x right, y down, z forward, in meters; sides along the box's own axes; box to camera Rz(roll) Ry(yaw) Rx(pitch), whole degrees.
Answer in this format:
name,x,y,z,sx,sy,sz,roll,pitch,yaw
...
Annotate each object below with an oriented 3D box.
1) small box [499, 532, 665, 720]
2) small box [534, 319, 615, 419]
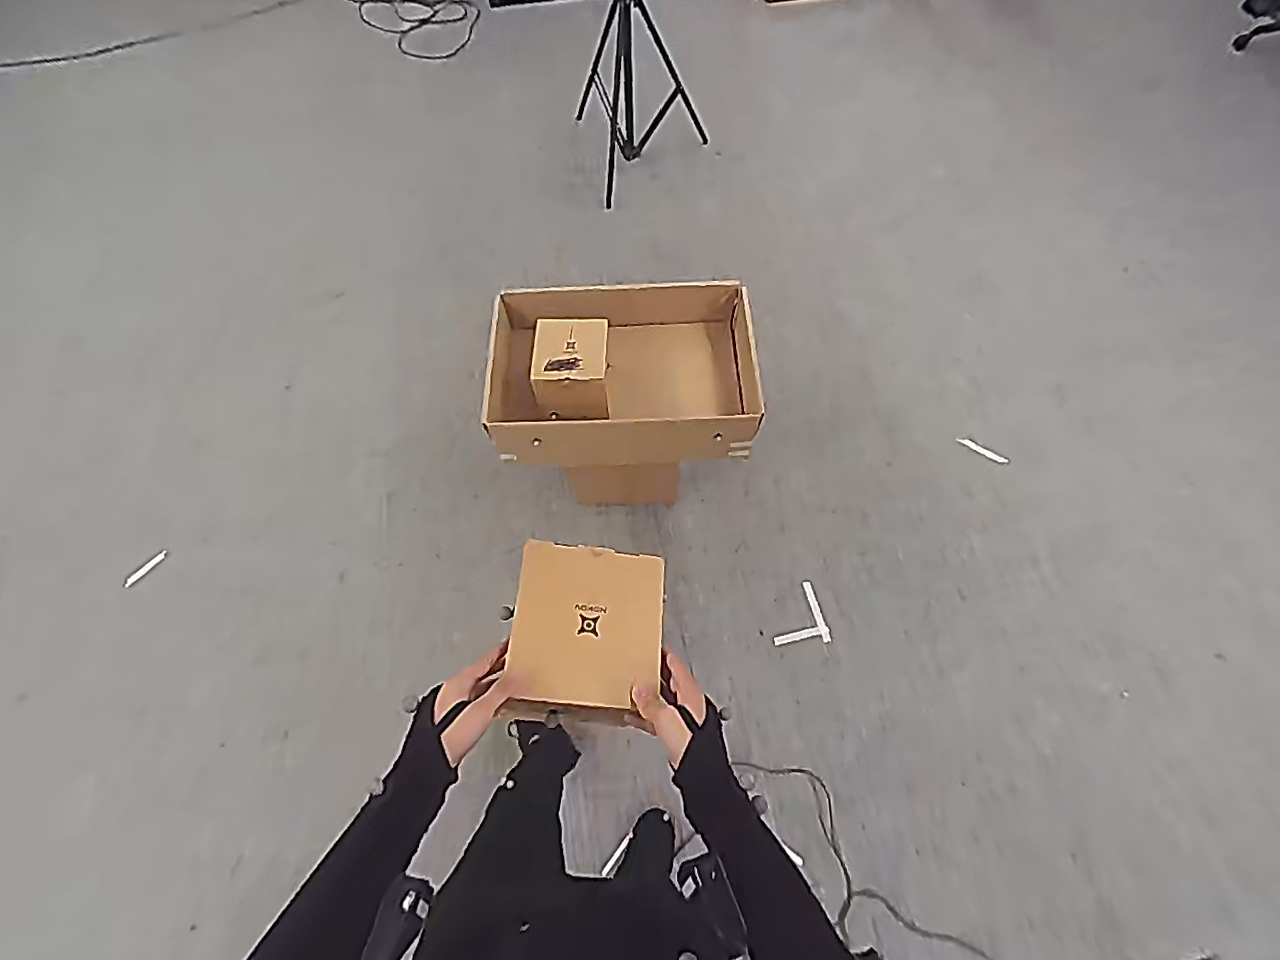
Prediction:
name,x,y,z,sx,sy,sz,roll,pitch,yaw
small box,-0.072,0.187,0.661,0.168,0.176,0.179,9,58,-9
small box,-0.147,-0.259,1.285,0.168,0.176,0.179,0,64,1
